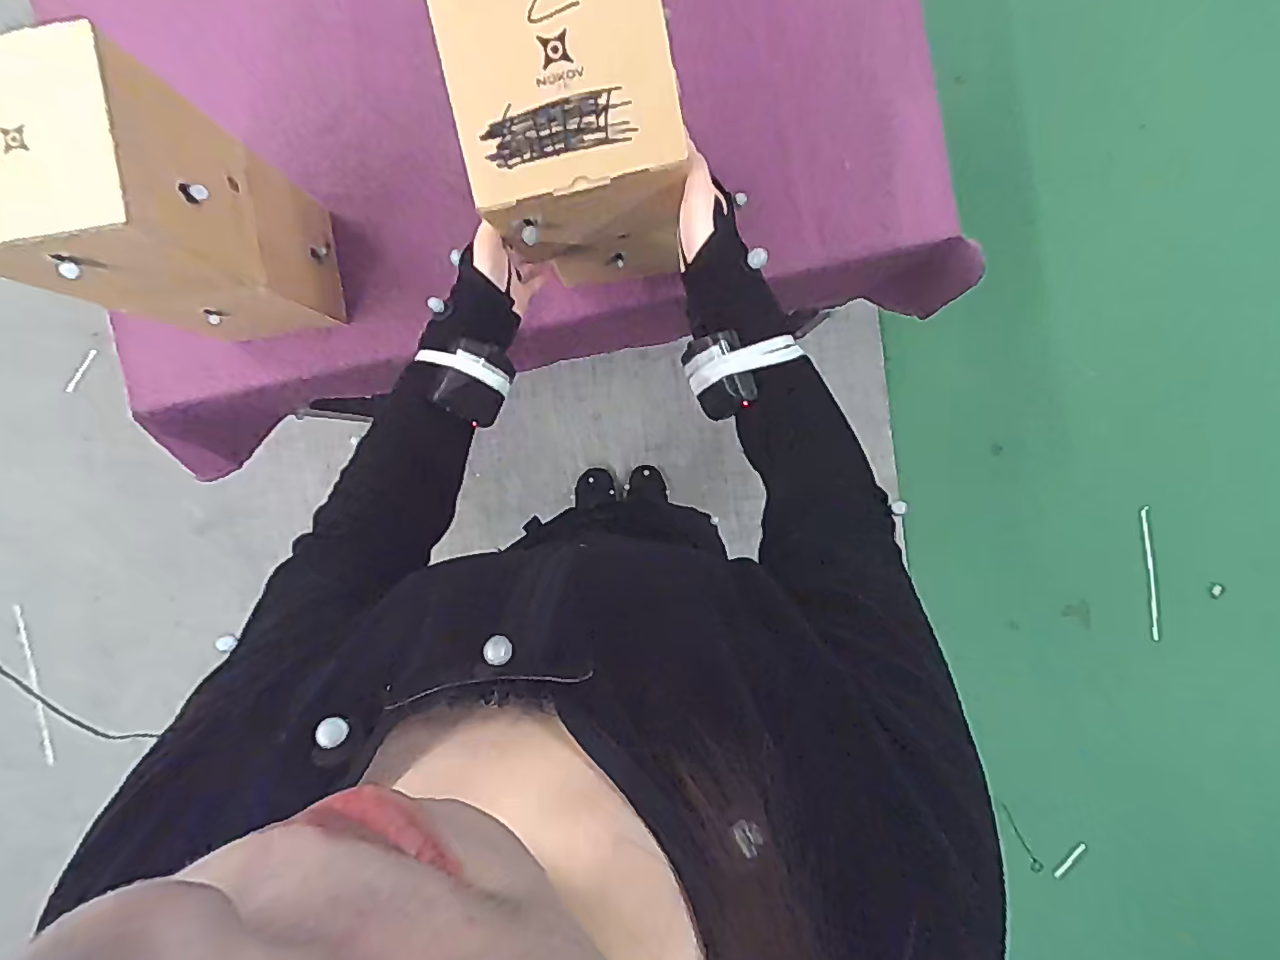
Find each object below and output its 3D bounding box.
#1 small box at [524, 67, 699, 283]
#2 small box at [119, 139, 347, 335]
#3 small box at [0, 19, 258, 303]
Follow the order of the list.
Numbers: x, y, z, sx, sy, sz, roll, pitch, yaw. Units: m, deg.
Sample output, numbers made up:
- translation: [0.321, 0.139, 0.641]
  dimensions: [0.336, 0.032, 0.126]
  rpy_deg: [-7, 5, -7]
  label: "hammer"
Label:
- translation: [-0.029, -0.361, 0.672]
  dimensions: [0.179, 0.176, 0.168]
  rpy_deg: [-8, 92, 3]
  label: "small box"
- translation: [-0.510, -0.290, 0.684]
  dimensions: [0.179, 0.176, 0.168]
  rpy_deg: [-8, 93, 1]
  label: "small box"
- translation: [-0.509, -0.284, 0.521]
  dimensions: [0.179, 0.176, 0.168]
  rpy_deg: [-9, 93, 3]
  label: "small box"
